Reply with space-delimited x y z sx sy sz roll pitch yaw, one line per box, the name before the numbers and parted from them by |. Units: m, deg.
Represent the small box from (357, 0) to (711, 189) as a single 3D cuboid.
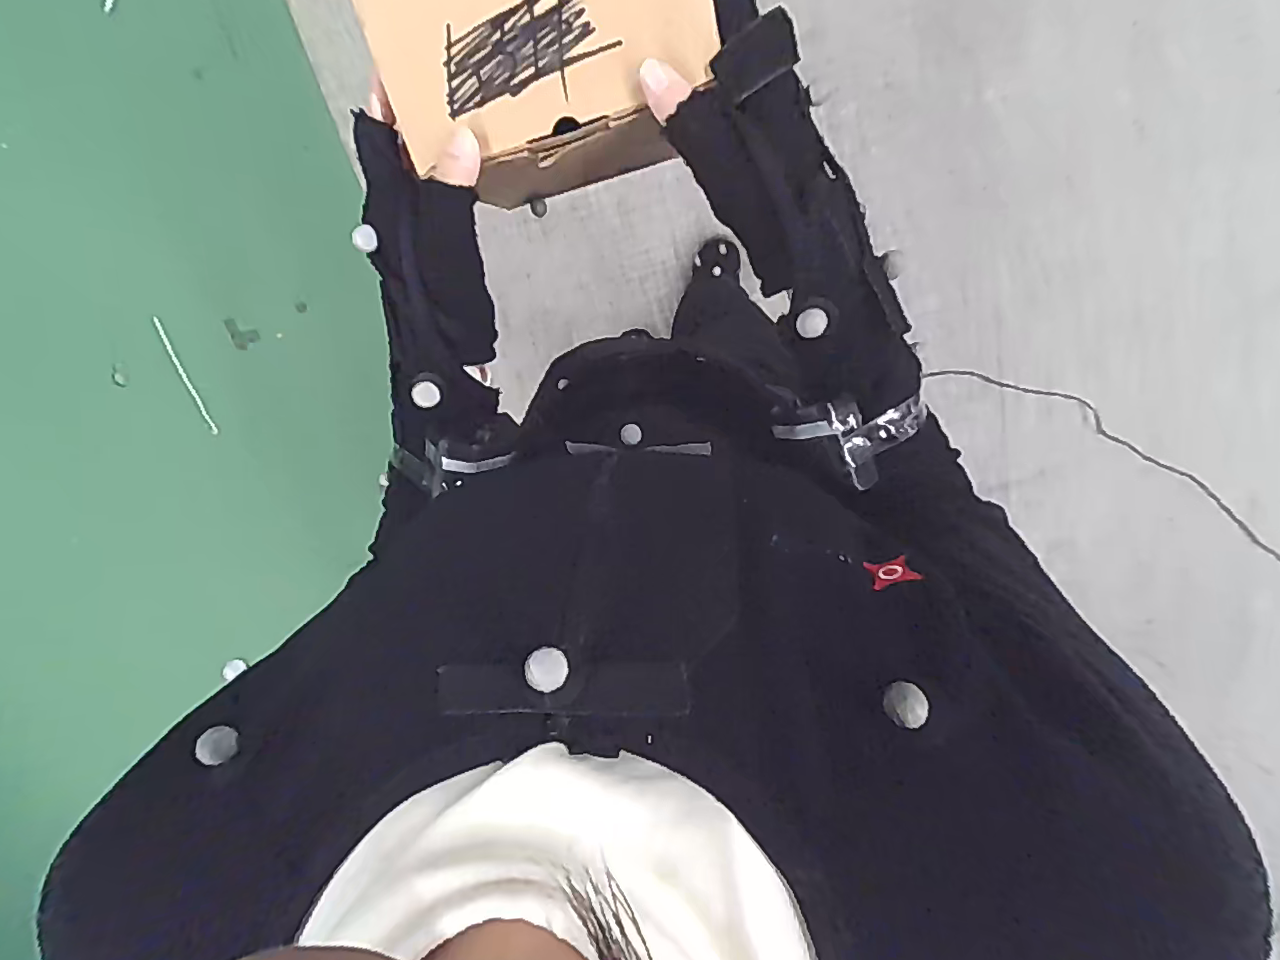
small box | -0.056 -0.290 0.320 0.168 0.176 0.179 -13 109 8
